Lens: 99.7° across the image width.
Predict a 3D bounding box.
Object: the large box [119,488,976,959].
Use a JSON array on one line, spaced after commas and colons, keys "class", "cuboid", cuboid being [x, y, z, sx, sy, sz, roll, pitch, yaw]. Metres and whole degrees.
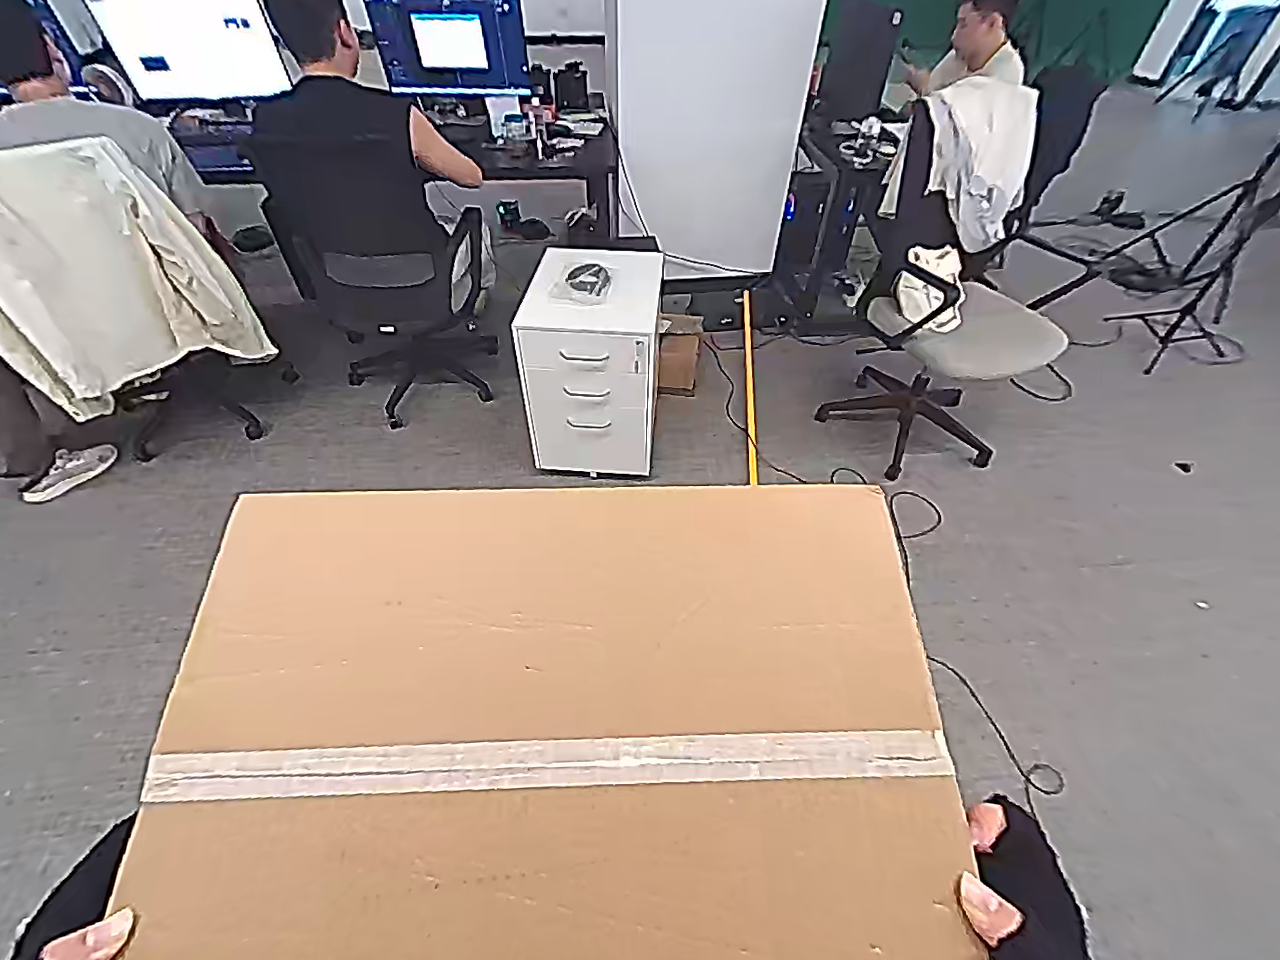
[{"class": "large box", "cuboid": [-0.046, 0.214, 0.421, 0.408, 0.320, 0.320, -1, 64, -1]}]
